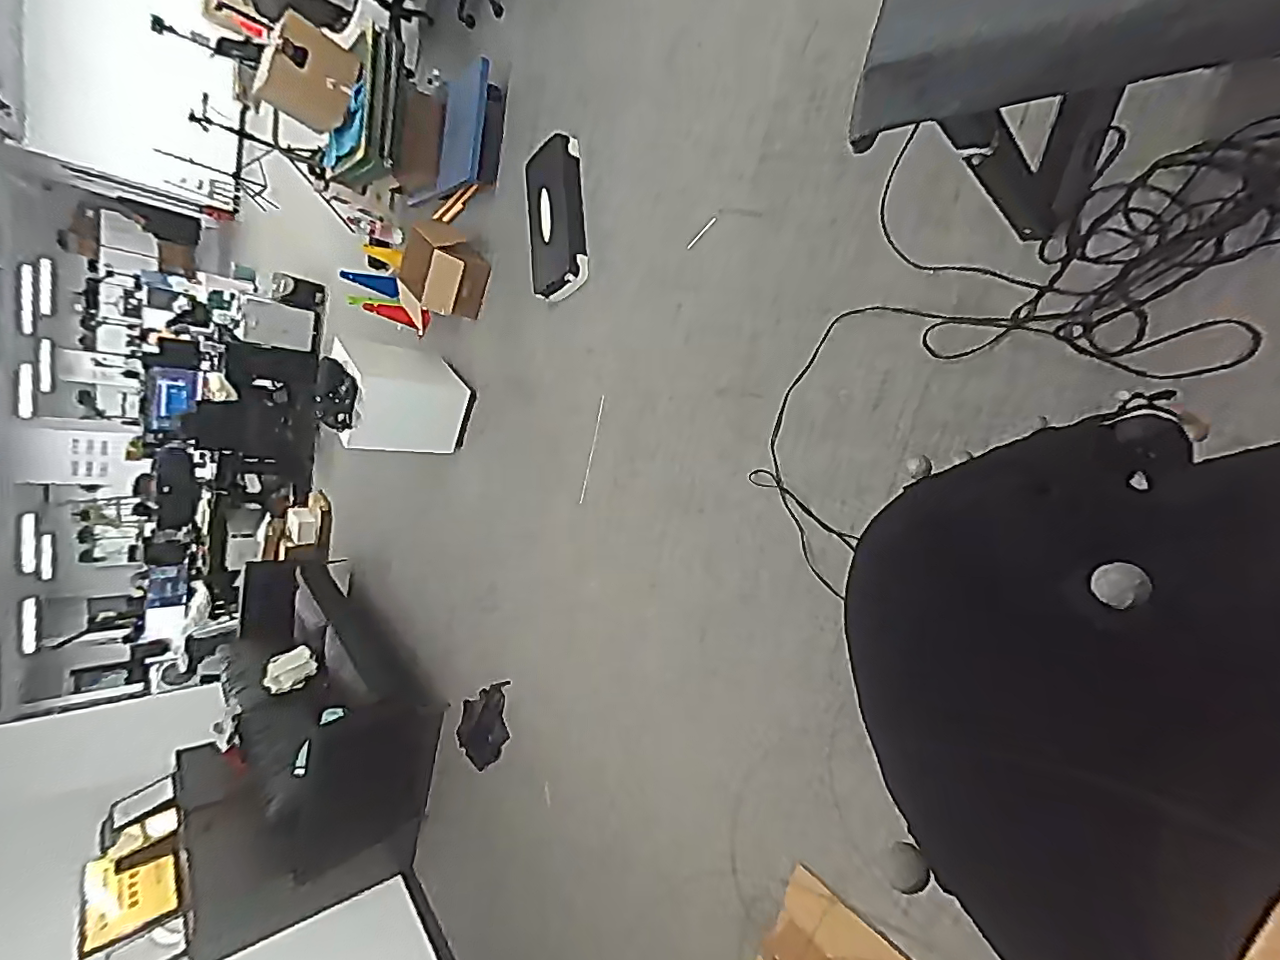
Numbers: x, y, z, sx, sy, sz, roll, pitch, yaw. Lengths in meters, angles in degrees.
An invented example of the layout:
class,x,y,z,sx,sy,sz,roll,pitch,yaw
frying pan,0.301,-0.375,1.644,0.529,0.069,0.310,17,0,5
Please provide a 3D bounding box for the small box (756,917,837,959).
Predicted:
class,x,y,z,sx,sy,sz,roll,pitch,yaw
small box,0.416,1.328,1.433,0.179,0.176,0.168,25,107,44
